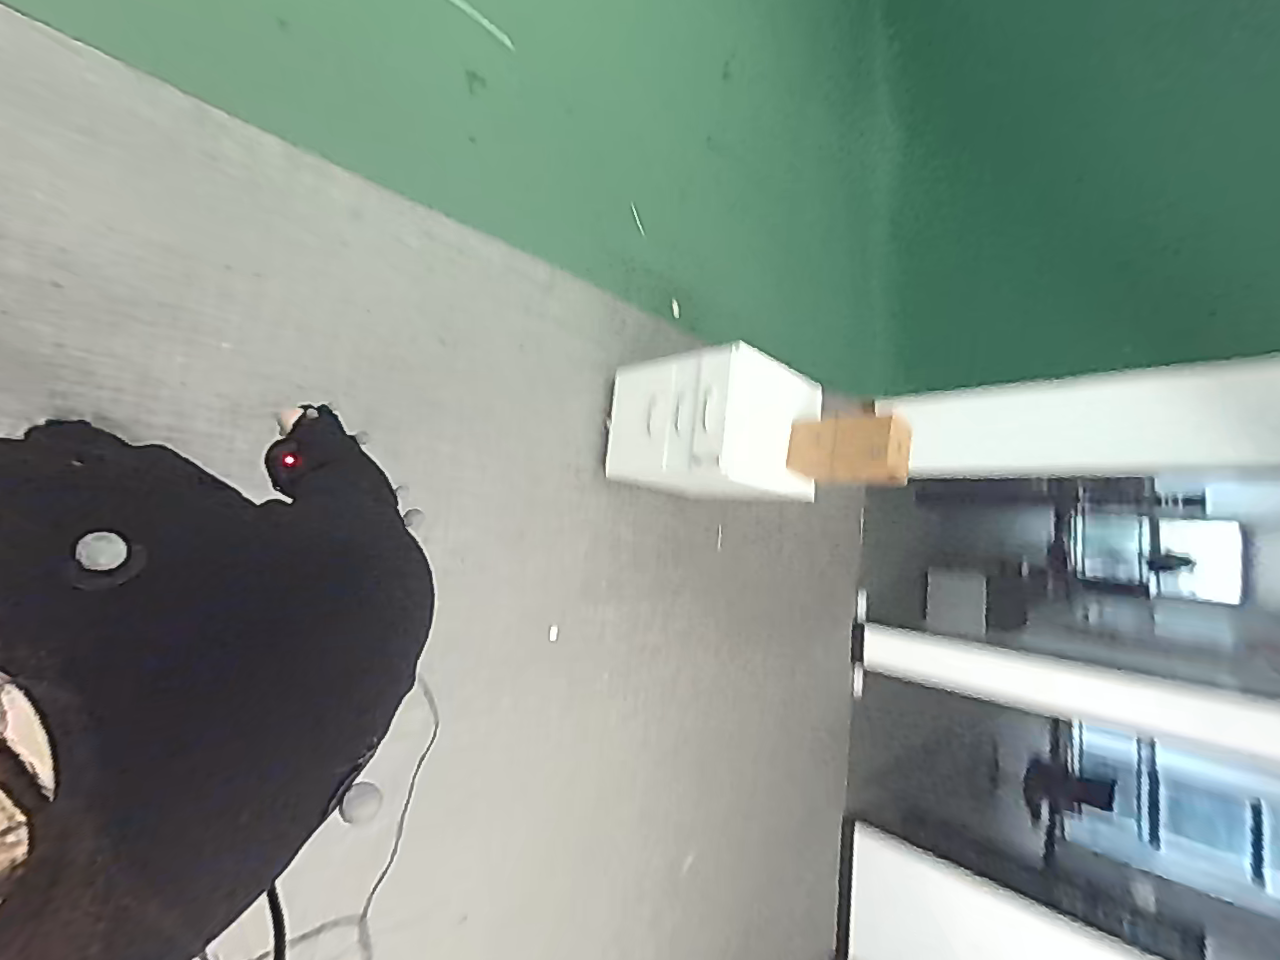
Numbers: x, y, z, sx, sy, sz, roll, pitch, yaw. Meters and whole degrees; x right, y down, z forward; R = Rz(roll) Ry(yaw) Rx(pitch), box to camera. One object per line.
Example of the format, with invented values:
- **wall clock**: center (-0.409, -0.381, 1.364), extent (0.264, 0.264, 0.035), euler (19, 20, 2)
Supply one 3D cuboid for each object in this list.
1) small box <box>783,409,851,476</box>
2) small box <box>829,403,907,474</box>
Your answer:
- **small box**: center (0.591, -0.117, 1.785), extent (0.168, 0.176, 0.179), euler (20, 75, -42)
- **small box**: center (0.703, -0.122, 1.666), extent (0.168, 0.176, 0.179), euler (20, 77, -42)
